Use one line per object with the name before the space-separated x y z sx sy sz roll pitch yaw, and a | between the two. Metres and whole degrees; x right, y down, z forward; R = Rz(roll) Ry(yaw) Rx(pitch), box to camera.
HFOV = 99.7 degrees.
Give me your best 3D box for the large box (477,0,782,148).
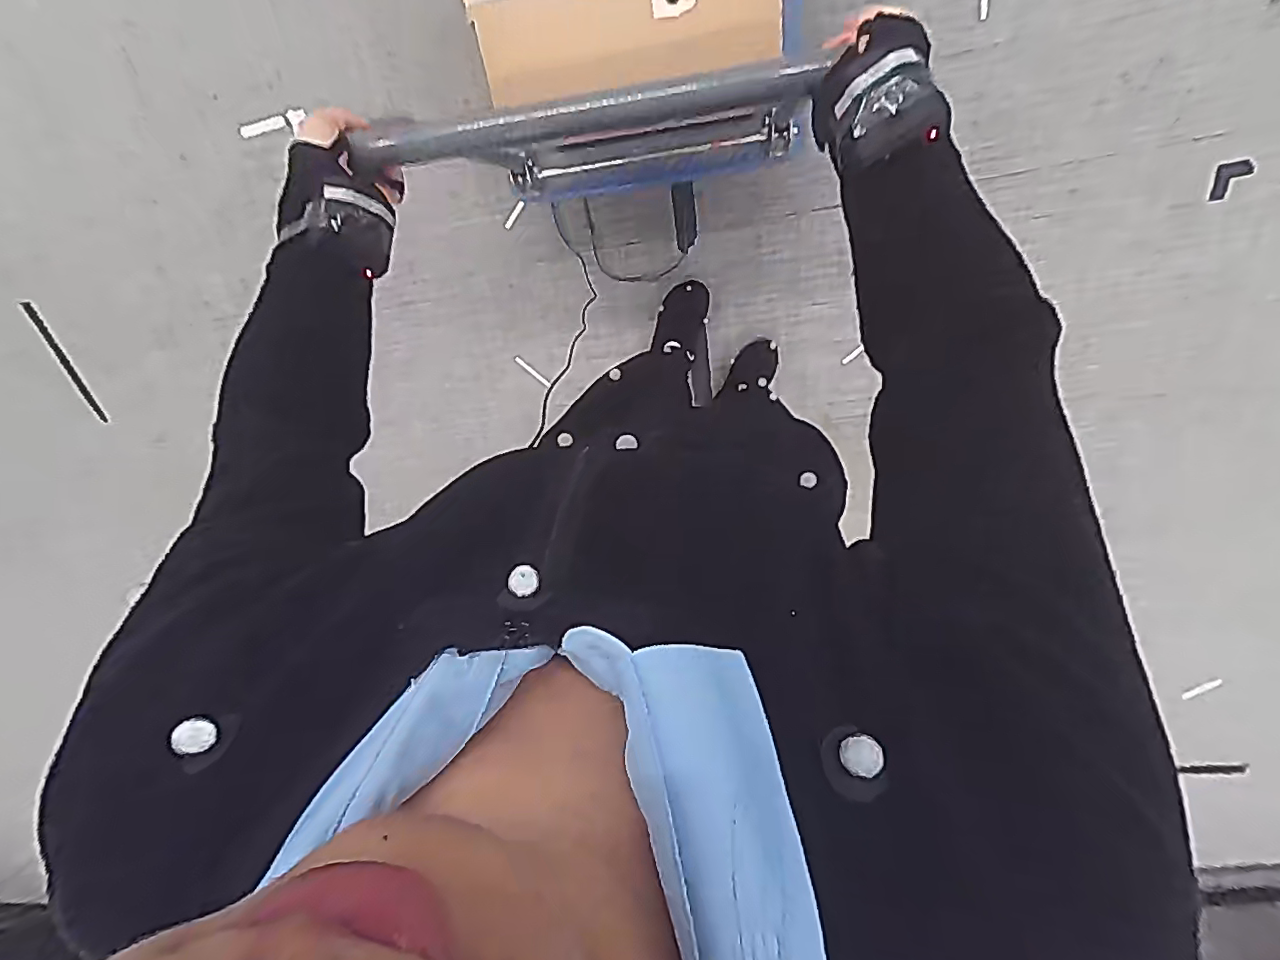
large box | -0.014 -0.732 0.827 0.408 0.320 0.320 -5 117 8
